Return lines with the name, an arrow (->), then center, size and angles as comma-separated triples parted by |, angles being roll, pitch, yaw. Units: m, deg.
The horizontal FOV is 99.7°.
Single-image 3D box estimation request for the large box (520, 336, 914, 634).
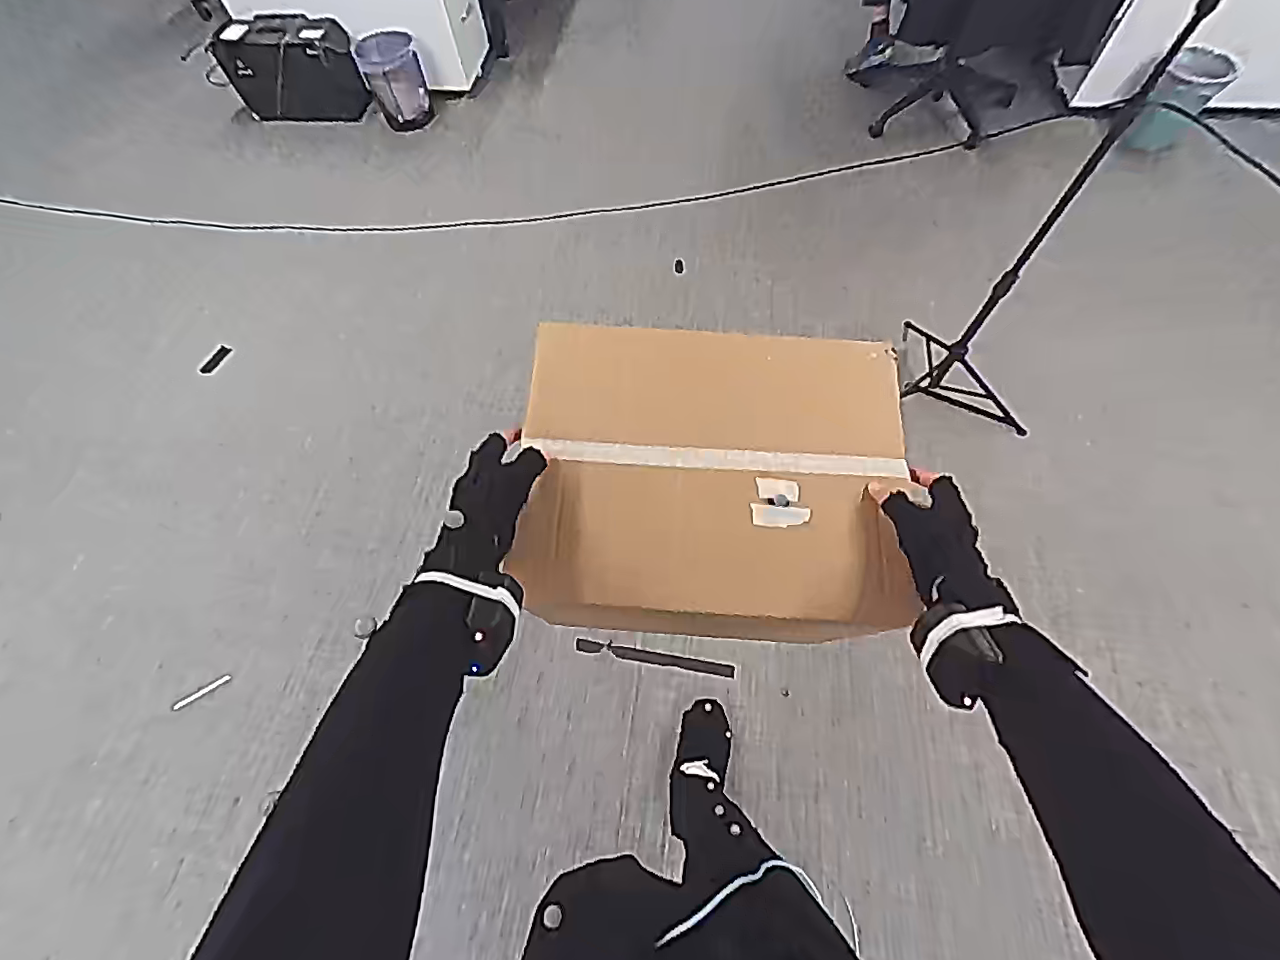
large box -> 0.079, 0.031, 0.726 | 0.408, 0.320, 0.320 | 3, 71, 1
